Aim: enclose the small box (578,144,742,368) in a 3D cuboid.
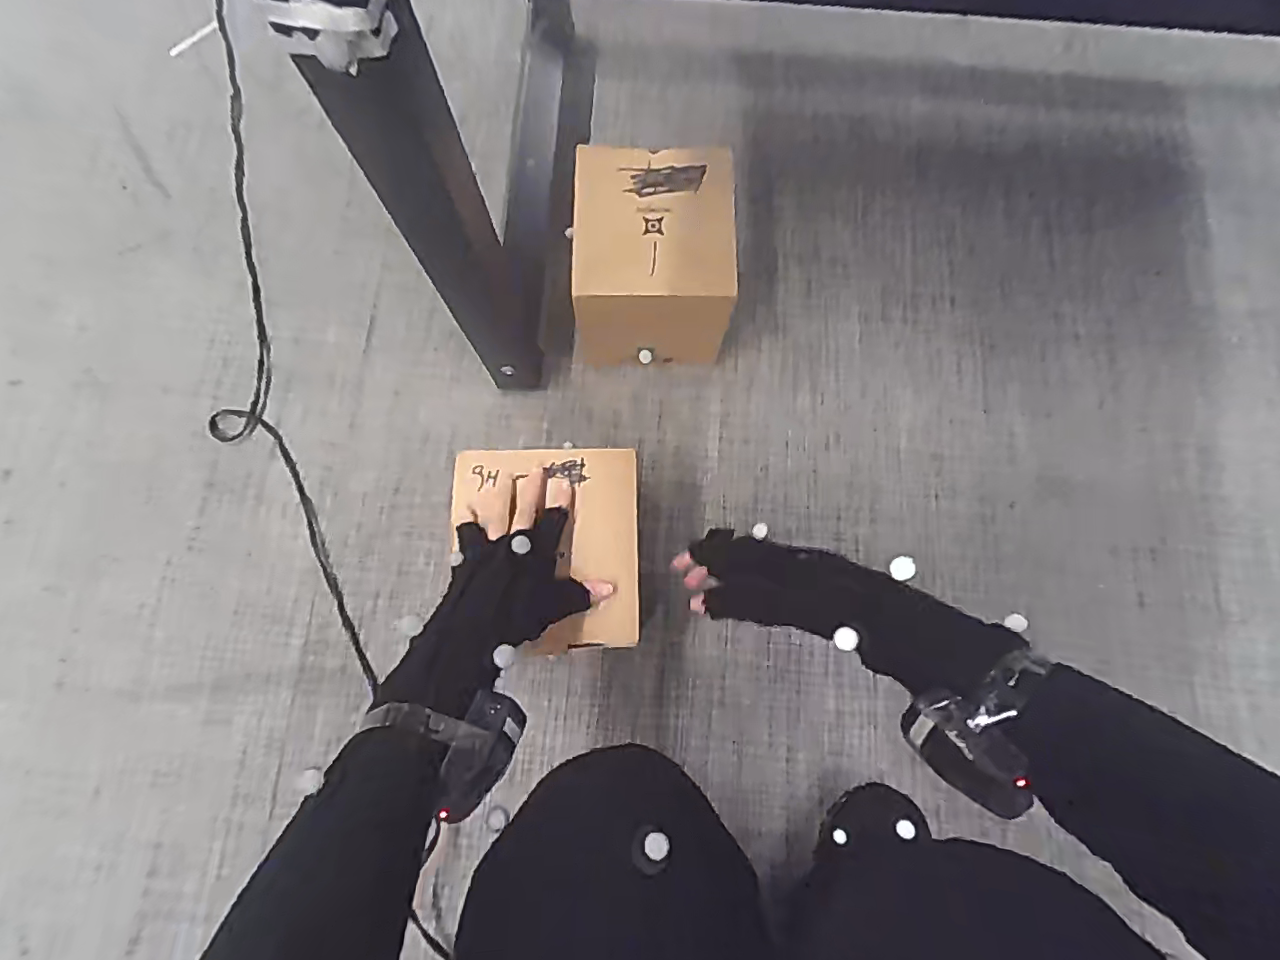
[{"bbox_3d":[0.020,-0.248,0.628,0.168,0.176,0.179,1,78,-1],"label":"small box"}]
